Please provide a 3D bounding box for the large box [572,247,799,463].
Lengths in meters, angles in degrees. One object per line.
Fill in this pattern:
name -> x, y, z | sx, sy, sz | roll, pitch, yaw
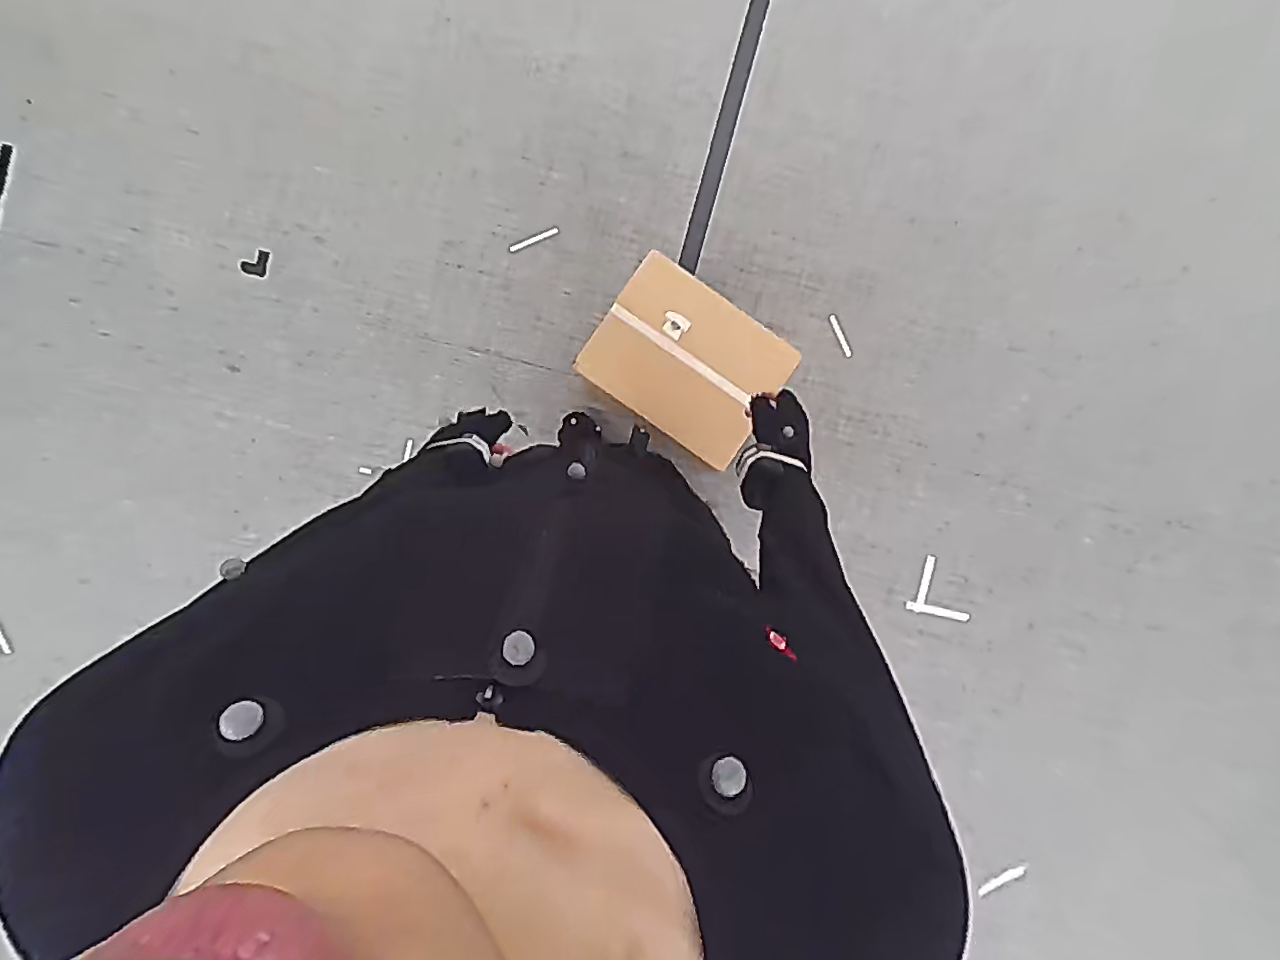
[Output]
large box -> 0.102, -0.274, 1.320 | 0.408, 0.320, 0.320 | 35, 90, -1
